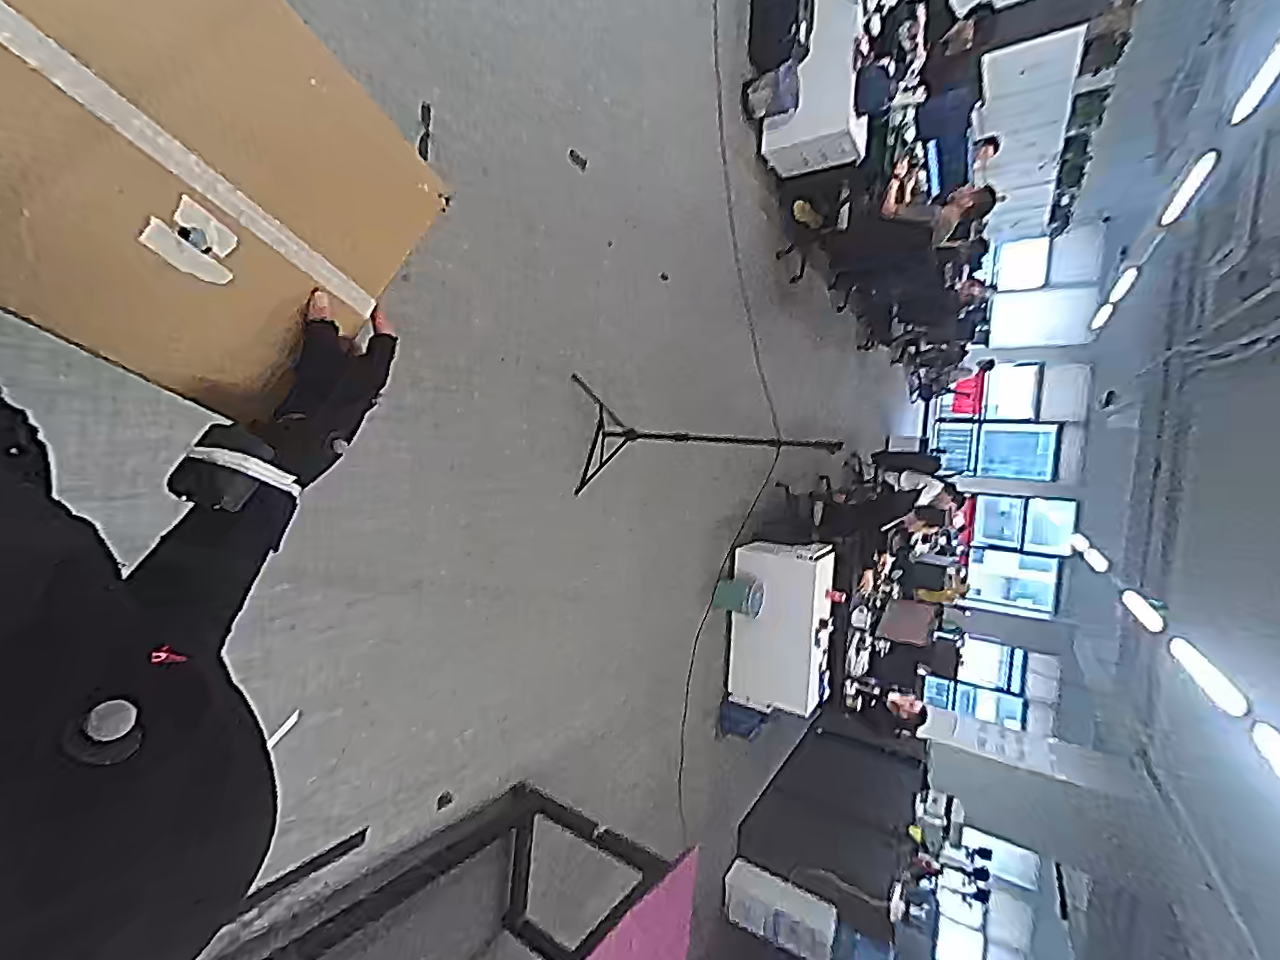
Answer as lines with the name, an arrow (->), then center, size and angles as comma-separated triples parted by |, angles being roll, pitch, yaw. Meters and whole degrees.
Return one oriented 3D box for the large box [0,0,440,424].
large box -> -0.489, -0.304, 0.487 | 0.320, 0.320, 0.408 | -61, 144, -11
